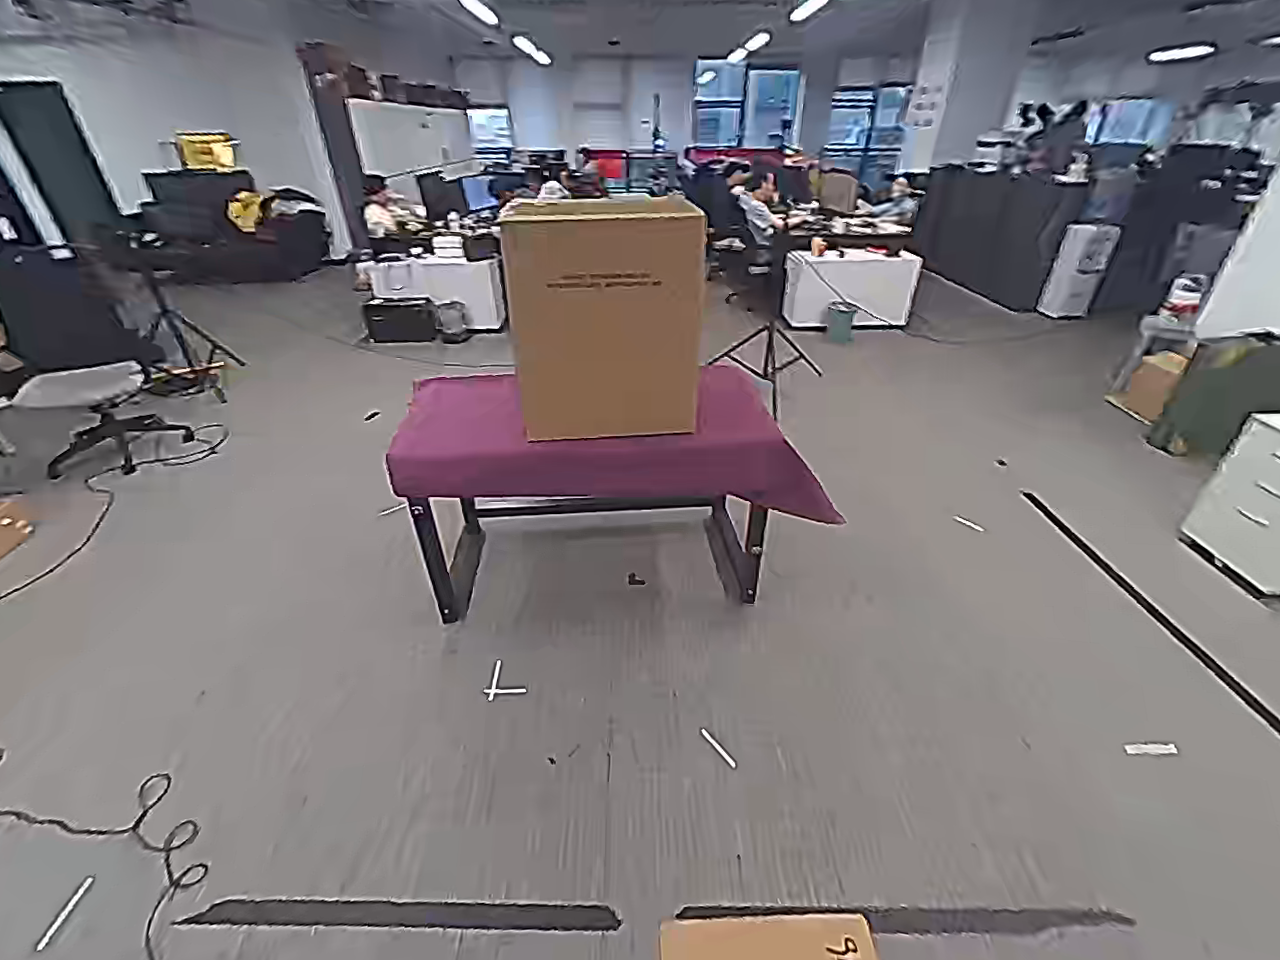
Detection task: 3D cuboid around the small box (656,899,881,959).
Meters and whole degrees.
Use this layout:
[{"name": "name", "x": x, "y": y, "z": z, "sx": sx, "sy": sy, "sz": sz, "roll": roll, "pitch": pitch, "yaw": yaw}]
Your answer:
[{"name": "small box", "x": 0.104, "y": 0.465, "z": 0.428, "sx": 0.179, "sy": 0.176, "sz": 0.168, "roll": -1, "pitch": 33, "yaw": -1}]
